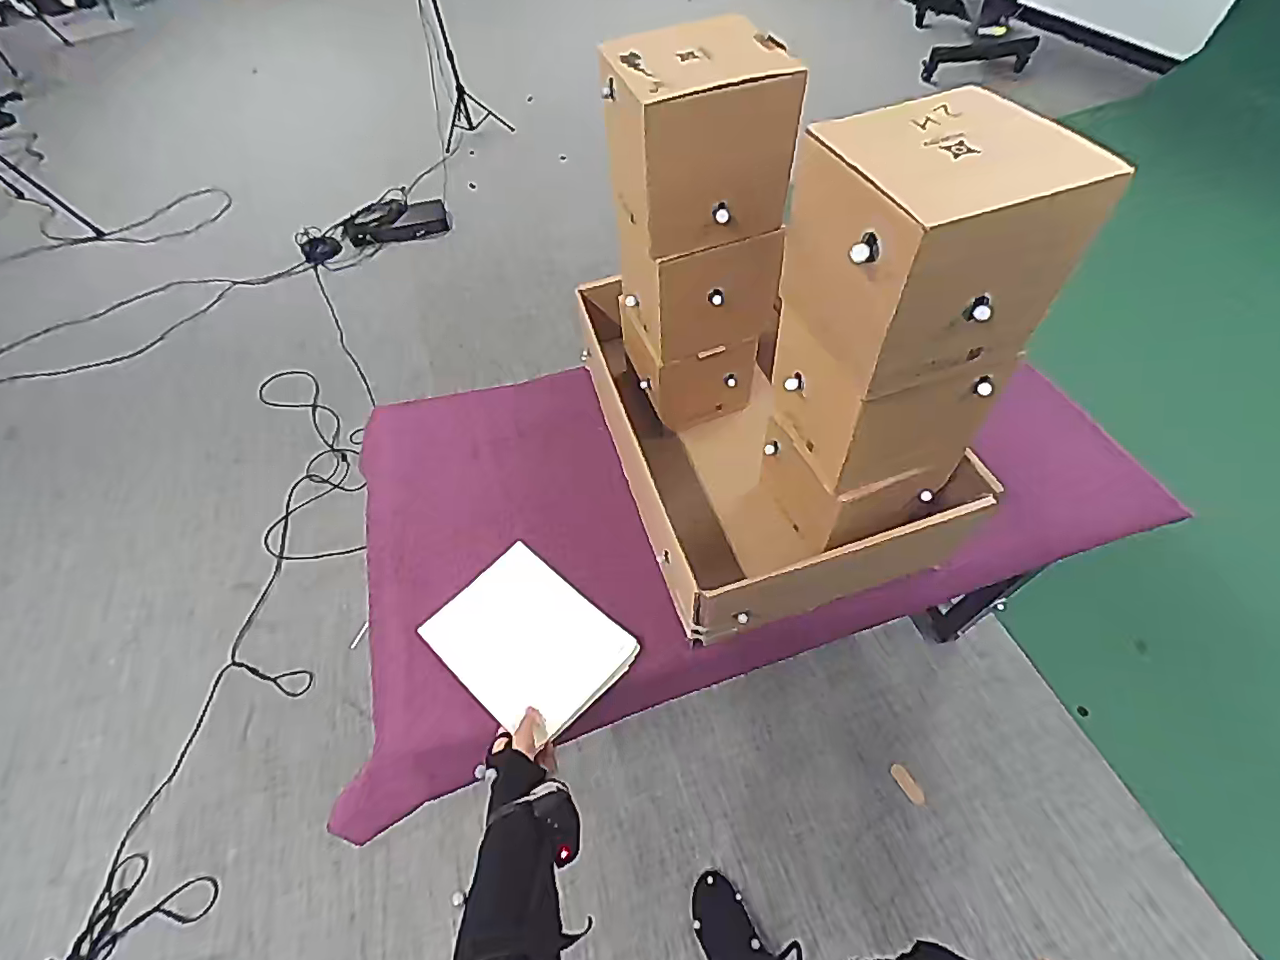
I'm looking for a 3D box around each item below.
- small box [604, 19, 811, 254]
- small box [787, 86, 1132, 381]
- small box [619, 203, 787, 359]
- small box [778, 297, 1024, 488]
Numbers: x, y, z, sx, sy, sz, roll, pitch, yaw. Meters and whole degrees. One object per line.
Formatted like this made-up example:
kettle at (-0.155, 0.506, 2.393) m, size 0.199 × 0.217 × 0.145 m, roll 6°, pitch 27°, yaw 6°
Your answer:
small box at (0.067, -0.395, 0.630) m, size 0.179 × 0.176 × 0.168 m, roll -17°, pitch 56°, yaw -8°
small box at (0.249, -0.208, 0.479) m, size 0.168 × 0.176 × 0.179 m, roll -17°, pitch 54°, yaw -7°
small box at (0.080, -0.301, 0.764) m, size 0.179 × 0.176 × 0.168 m, roll -19°, pitch 57°, yaw -8°
small box at (0.269, -0.114, 0.613) m, size 0.179 × 0.176 × 0.168 m, roll -17°, pitch 54°, yaw -7°
